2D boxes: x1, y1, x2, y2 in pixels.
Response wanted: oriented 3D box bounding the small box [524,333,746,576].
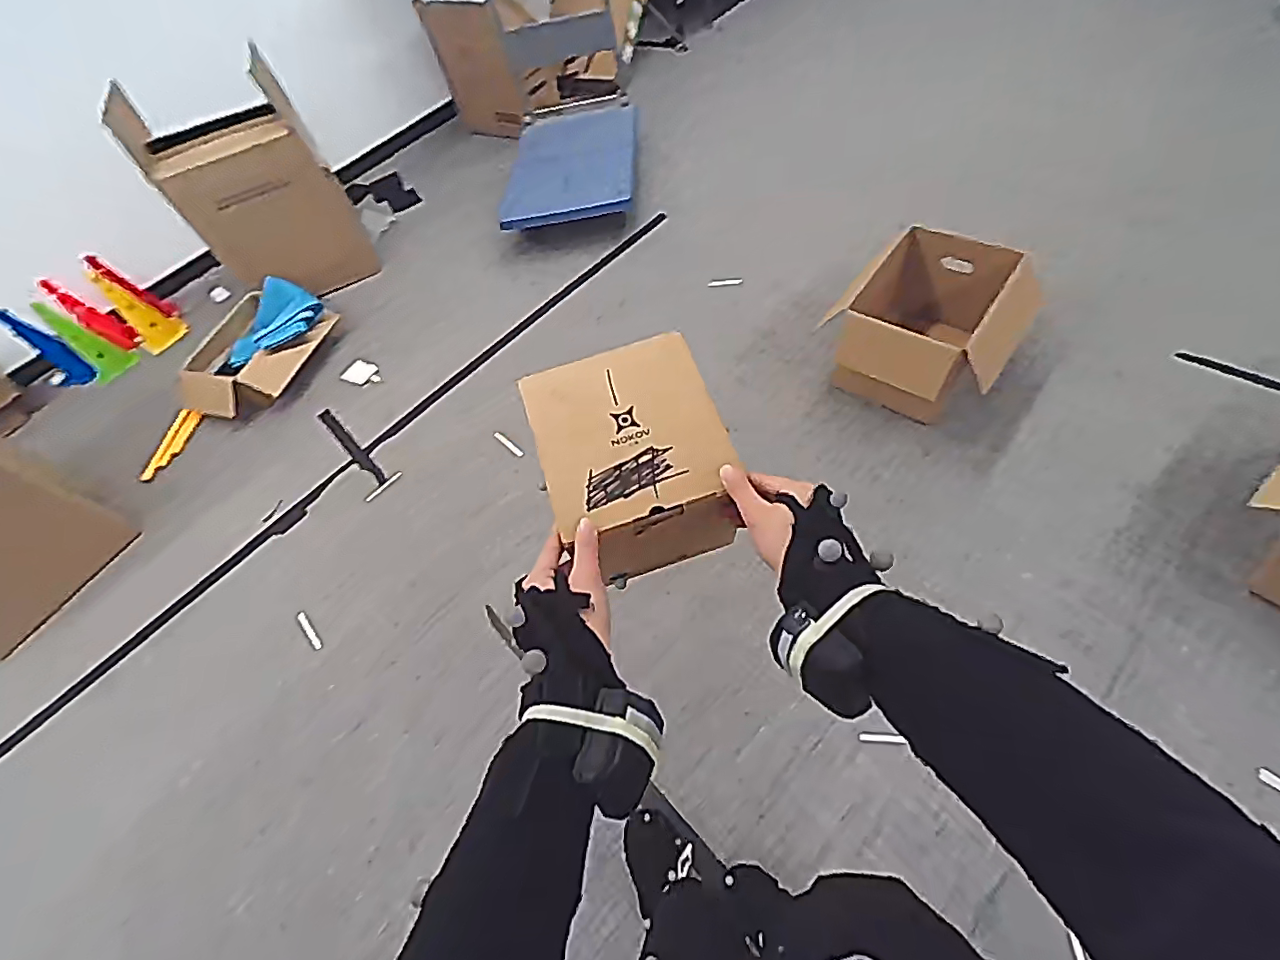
[{"bbox_3d":[-0.003,-0.013,0.558,0.168,0.176,0.179,-18,65,-4],"label":"small box"}]
